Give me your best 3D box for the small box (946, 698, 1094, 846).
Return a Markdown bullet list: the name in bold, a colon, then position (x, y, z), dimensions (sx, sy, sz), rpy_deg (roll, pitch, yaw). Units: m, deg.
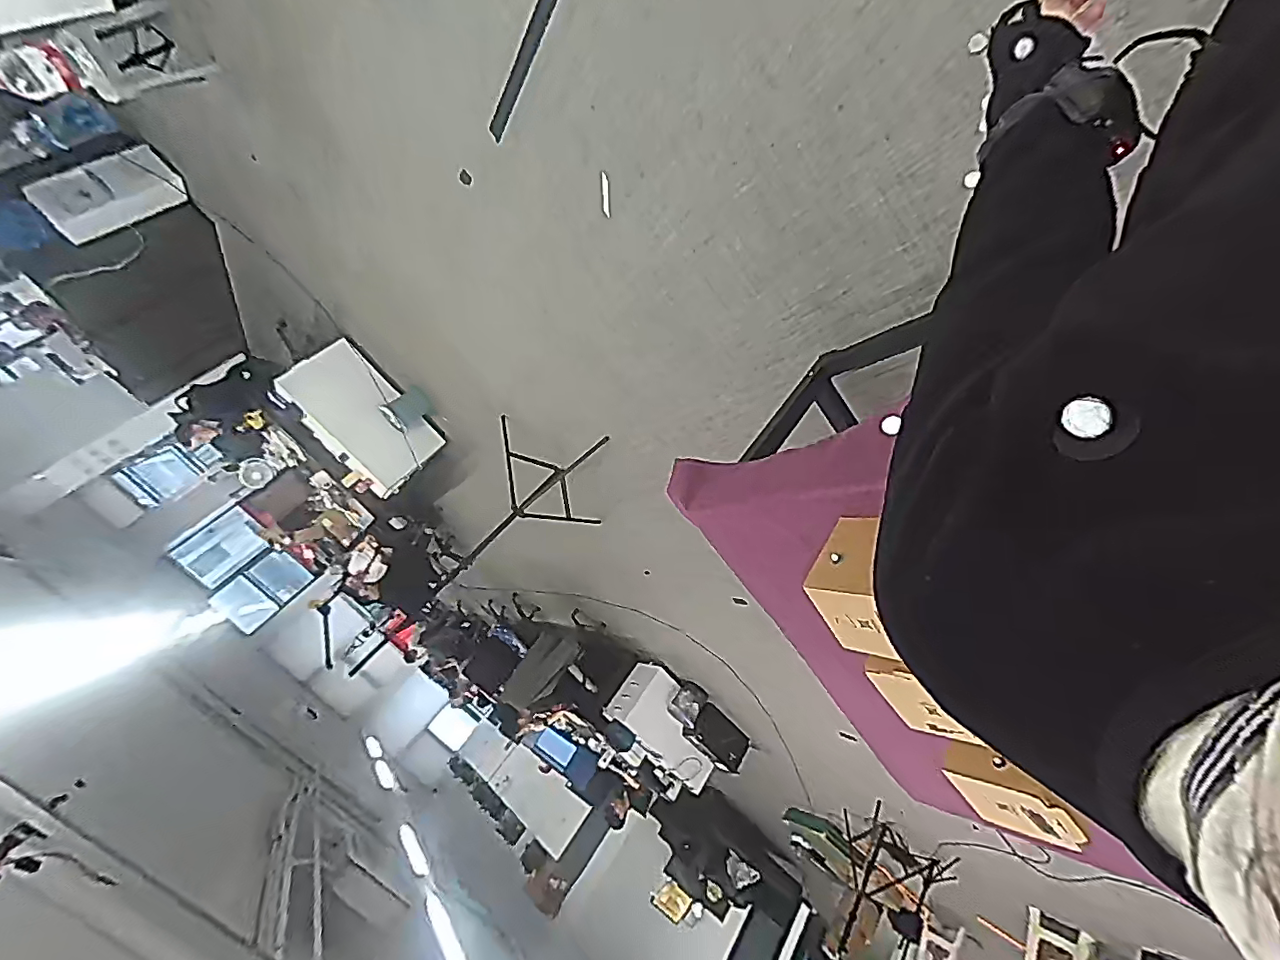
- **small box**: position (0.735, 0.547, 1.041), dimensions (0.168, 0.176, 0.179), rpy_deg (48, 151, -13)
